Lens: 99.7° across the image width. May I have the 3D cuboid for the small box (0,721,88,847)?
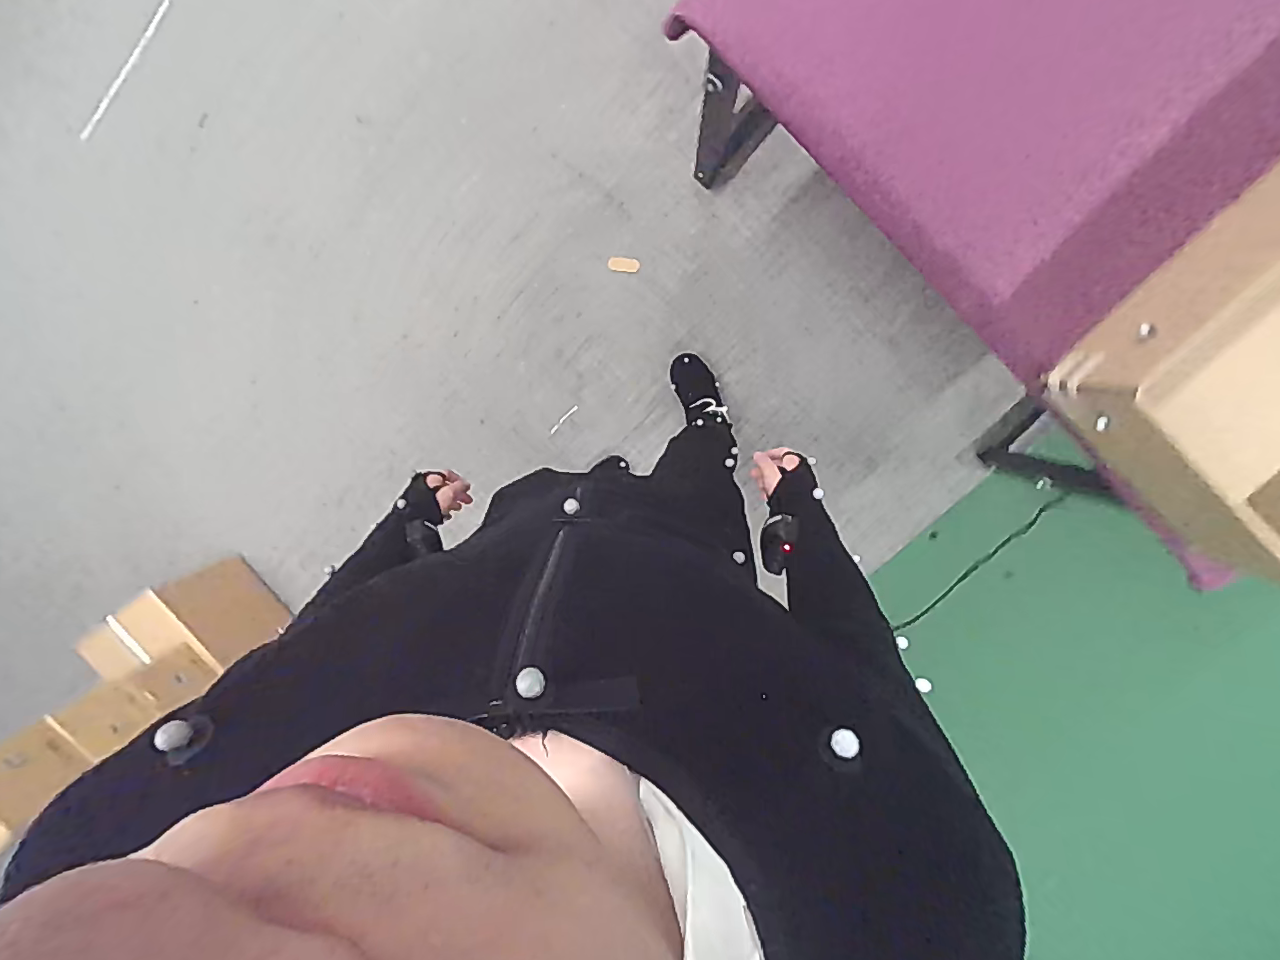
[{"bbox_3d":[-1.285,0.628,1.085,0.179,0.176,0.168,-39,97,10],"label":"small box"}]

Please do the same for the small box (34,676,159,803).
[{"bbox_3d":[-1.275,0.591,1.244,0.179,0.176,0.168,-39,98,10],"label":"small box"}]

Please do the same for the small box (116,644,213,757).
[{"bbox_3d":[-1.267,0.562,1.404,0.179,0.176,0.168,-38,97,8],"label":"small box"}]
